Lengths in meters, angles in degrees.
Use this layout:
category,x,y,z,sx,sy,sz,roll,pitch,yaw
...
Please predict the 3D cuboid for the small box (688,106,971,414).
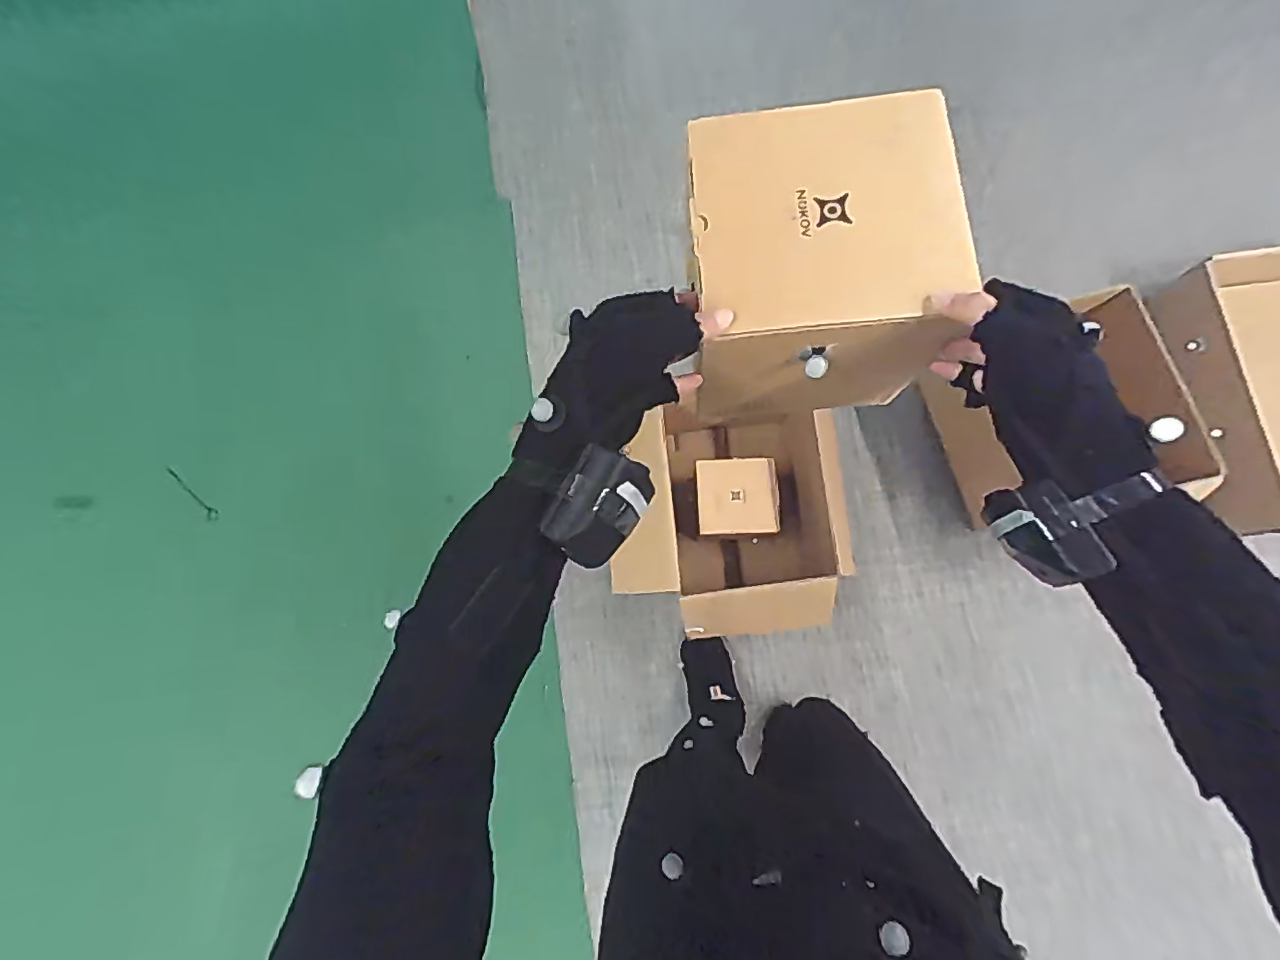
category,x,y,z,sx,sy,sz,roll,pitch,yaw
small box,0.132,-0.162,0.449,0.179,0.176,0.168,-4,77,5
